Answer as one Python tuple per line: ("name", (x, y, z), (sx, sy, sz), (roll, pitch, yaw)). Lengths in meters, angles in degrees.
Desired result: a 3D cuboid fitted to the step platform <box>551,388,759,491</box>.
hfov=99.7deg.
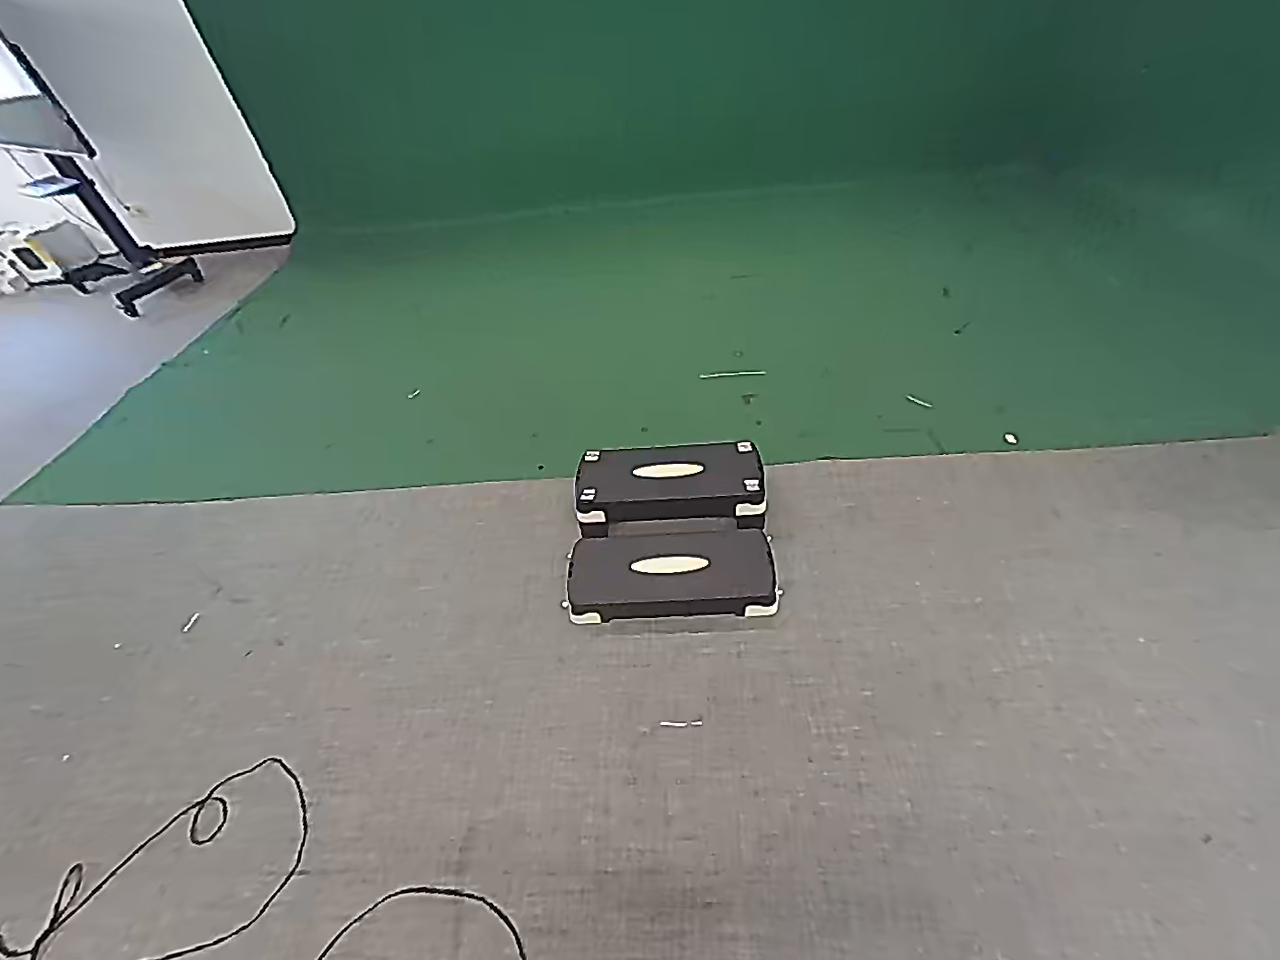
("step platform", (0.055, -0.137, 1.848), (0.684, 0.204, 0.286), (-4, 45, 5))
